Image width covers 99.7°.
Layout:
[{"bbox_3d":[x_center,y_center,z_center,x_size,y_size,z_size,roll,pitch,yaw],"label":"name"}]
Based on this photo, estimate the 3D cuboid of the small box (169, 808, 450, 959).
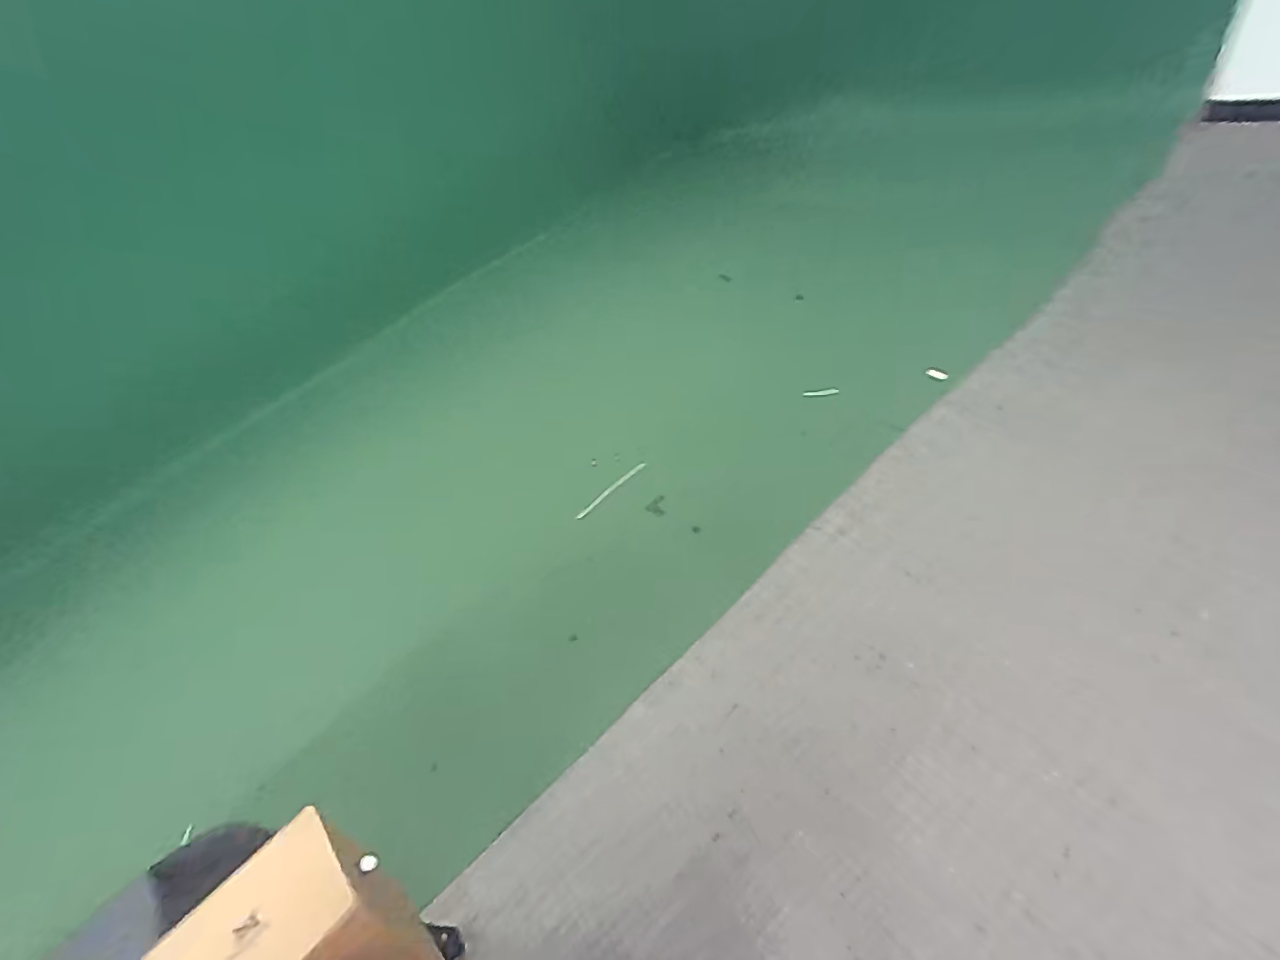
[{"bbox_3d":[-0.306,0.474,0.518,0.179,0.176,0.168,2,34,49],"label":"small box"}]
